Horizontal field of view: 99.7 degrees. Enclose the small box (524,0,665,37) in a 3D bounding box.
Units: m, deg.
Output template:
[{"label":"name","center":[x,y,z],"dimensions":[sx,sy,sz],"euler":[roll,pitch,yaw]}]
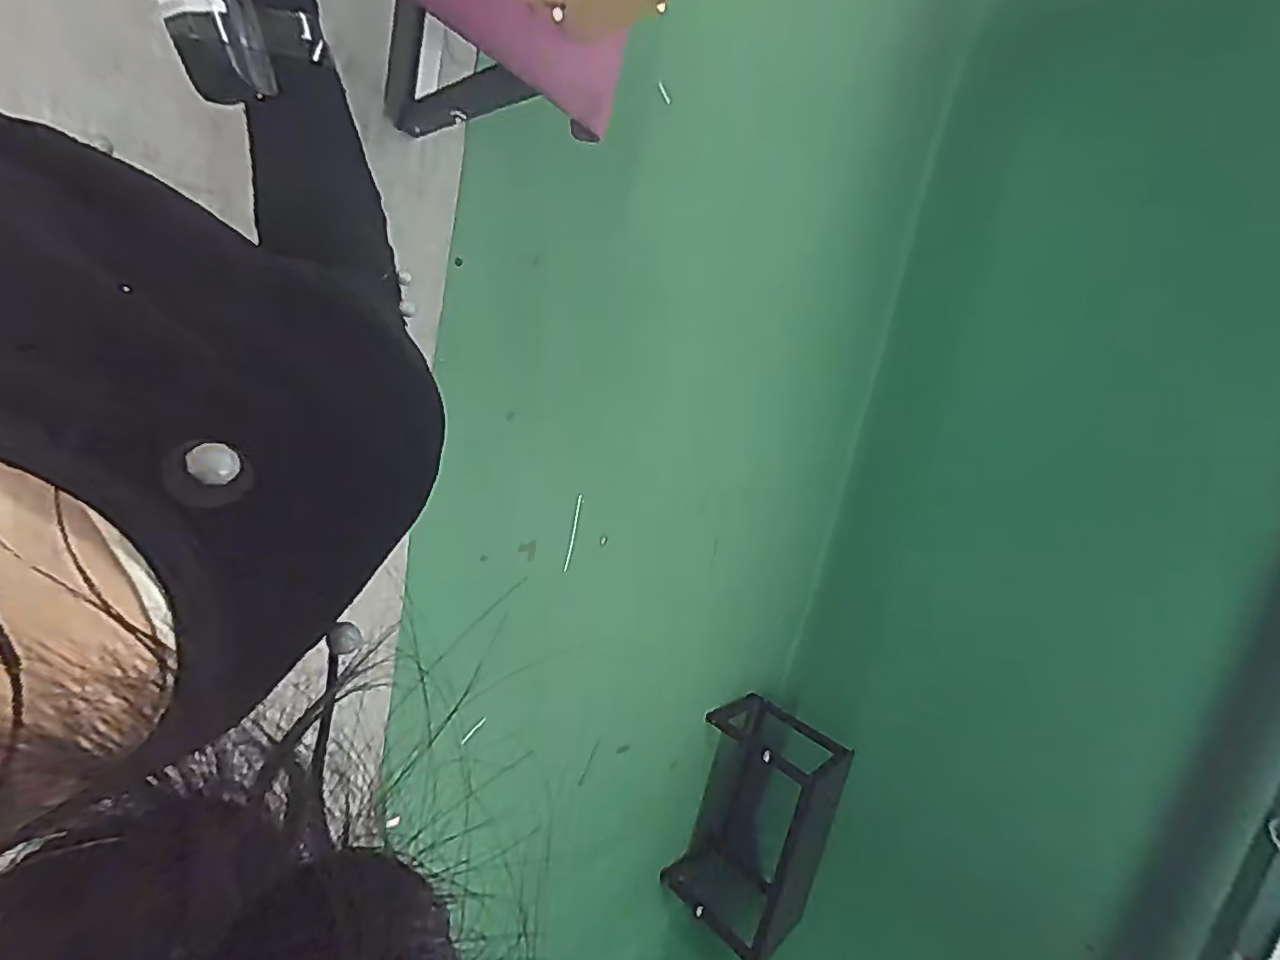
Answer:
[{"label":"small box","center":[-0.071,-0.727,0.709],"dimensions":[0.179,0.176,0.168],"euler":[-2,107,-47]}]
